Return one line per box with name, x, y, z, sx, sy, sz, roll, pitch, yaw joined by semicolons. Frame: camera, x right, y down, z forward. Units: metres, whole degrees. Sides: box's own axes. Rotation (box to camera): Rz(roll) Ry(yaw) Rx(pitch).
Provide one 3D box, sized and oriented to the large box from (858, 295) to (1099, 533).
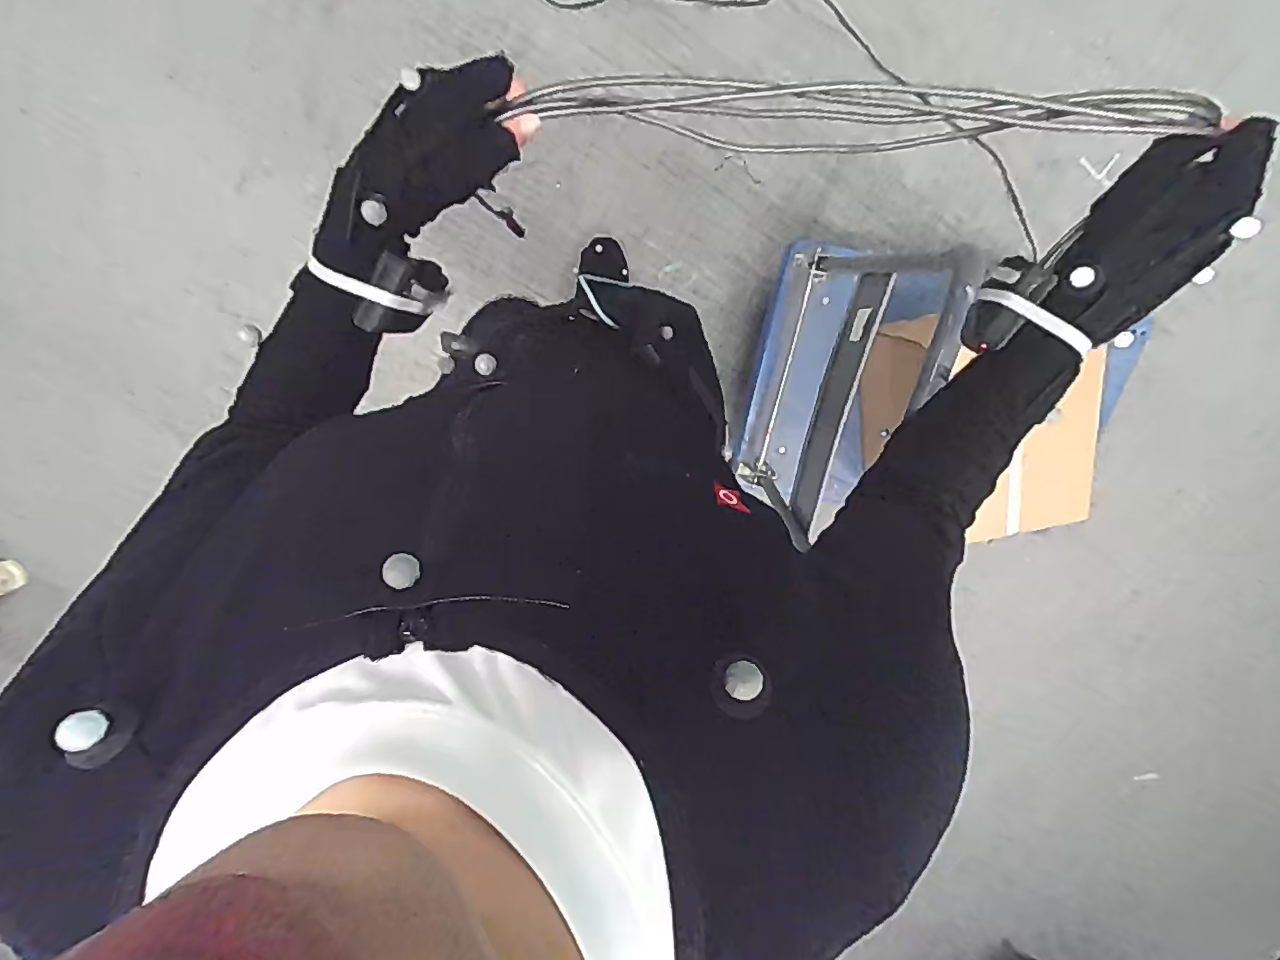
large box;0.684;-0.153;1.150;0.320;0.320;0.408;-12;111;2
